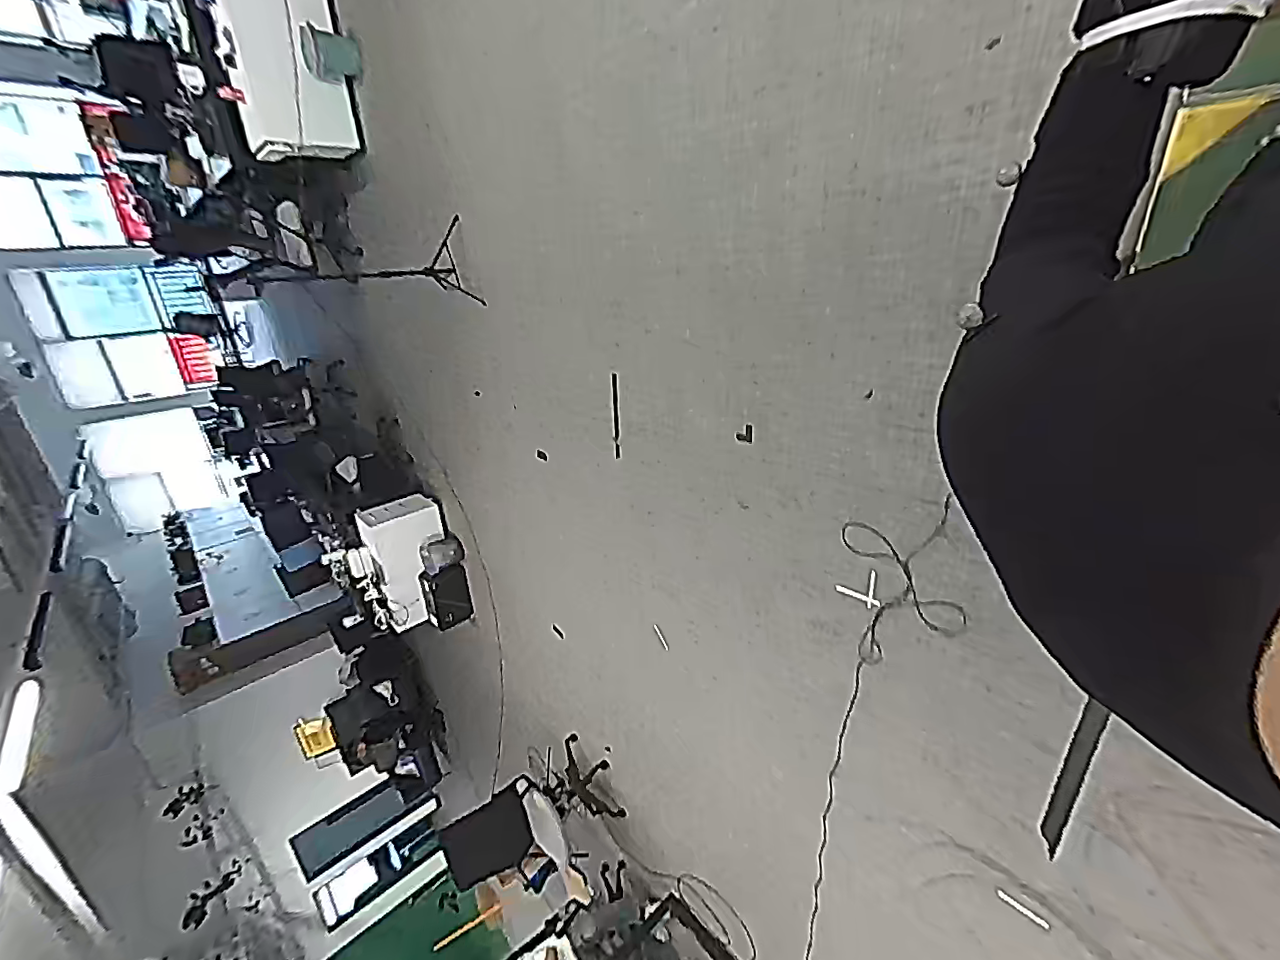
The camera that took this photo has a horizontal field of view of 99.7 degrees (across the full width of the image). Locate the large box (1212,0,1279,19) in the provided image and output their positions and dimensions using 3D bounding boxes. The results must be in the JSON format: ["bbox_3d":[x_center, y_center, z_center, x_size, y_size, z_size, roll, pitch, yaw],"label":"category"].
[{"bbox_3d":[0.576,-0.495,0.248,0.408,0.320,0.320,15,126,45],"label":"large box"}]
